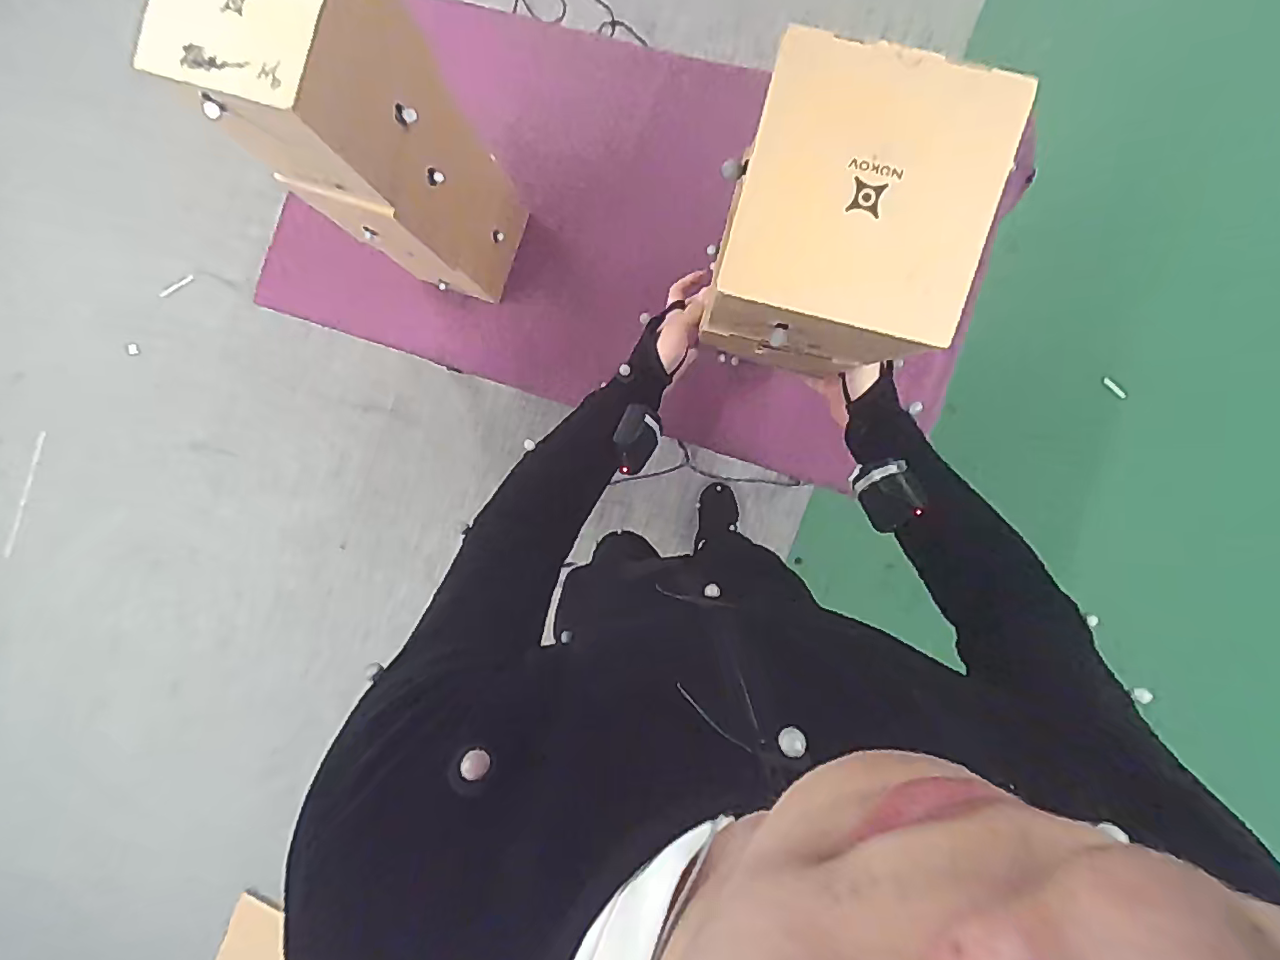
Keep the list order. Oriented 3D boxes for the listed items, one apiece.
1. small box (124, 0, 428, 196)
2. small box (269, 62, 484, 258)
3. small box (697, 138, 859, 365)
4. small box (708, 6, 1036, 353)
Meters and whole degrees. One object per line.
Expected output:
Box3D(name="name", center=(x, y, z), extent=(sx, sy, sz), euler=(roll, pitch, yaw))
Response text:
Box3D(name="small box", center=(-0.343, -0.430, 0.546), extent=(0.168, 0.176, 0.179), euler=(19, 91, 6))
Box3D(name="small box", center=(-0.328, -0.422, 0.709), extent=(0.168, 0.176, 0.179), euler=(21, 92, 5))
Box3D(name="small box", center=(0.165, -0.232, 0.592), extent=(0.168, 0.176, 0.179), euler=(15, 98, 3))
Box3D(name="small box", center=(0.156, -0.210, 0.432), extent=(0.168, 0.176, 0.179), euler=(15, 98, 3))
